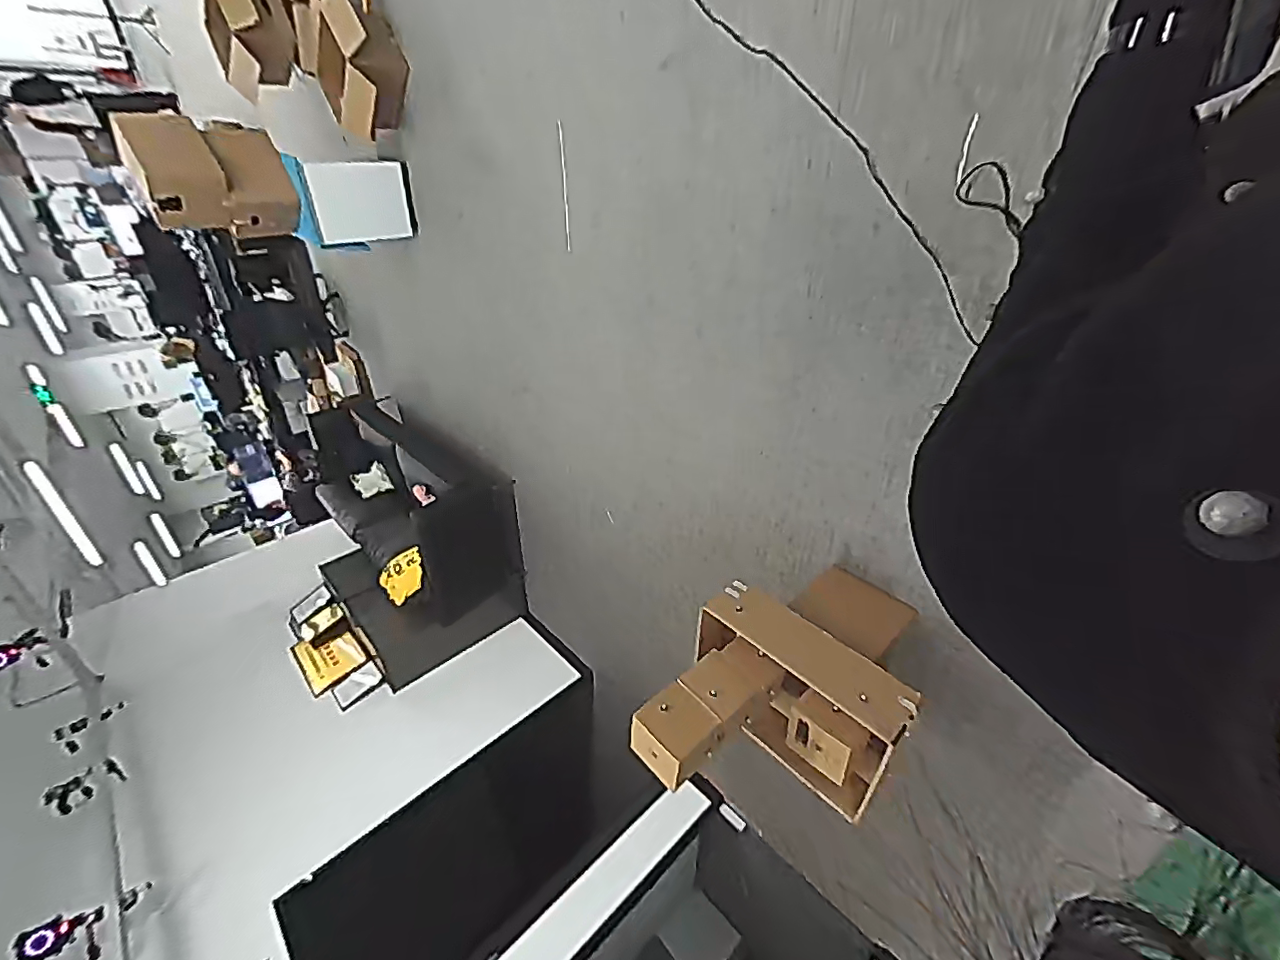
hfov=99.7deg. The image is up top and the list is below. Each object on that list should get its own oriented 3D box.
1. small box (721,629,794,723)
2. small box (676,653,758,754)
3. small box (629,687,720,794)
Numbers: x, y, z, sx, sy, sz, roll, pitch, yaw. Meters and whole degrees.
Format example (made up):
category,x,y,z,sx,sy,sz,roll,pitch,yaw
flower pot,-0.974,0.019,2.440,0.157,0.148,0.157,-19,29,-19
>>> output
category,x,y,z,sx,sy,sz,roll,pitch,yaw
small box,0.348,0.593,1.655,0.168,0.176,0.179,36,135,35
small box,0.218,0.640,1.567,0.179,0.176,0.168,35,134,36
small box,0.093,0.700,1.481,0.179,0.176,0.168,34,134,36
